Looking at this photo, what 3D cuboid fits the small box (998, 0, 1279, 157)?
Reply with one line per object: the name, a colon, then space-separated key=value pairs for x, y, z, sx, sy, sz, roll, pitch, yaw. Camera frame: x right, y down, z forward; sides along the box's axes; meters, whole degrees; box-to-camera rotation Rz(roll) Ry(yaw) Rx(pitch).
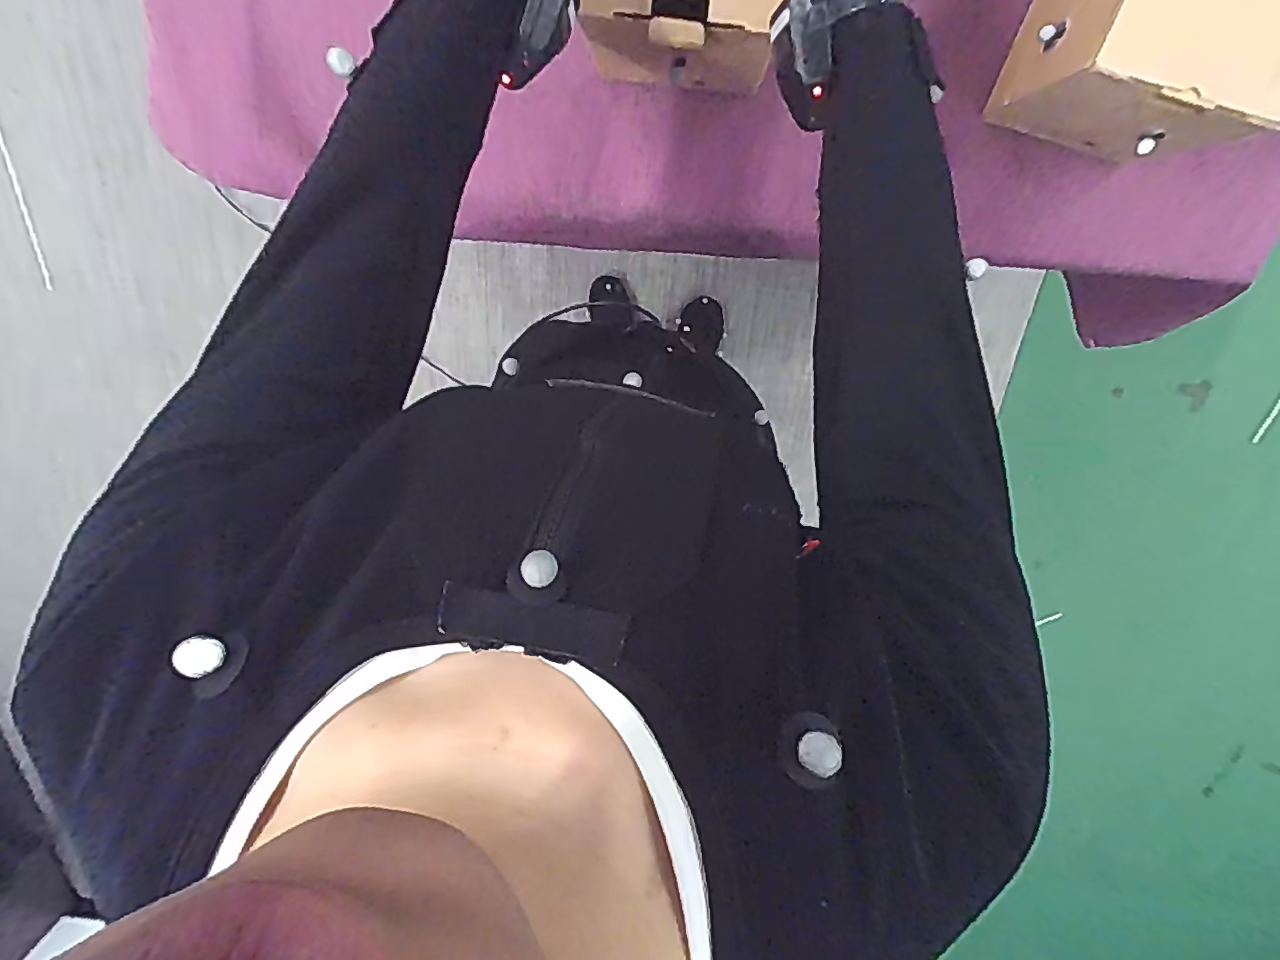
small box: x=0.447 y=-0.397 z=0.454 sx=0.168 sy=0.176 sz=0.179 roll=16 pitch=112 yaw=-2
